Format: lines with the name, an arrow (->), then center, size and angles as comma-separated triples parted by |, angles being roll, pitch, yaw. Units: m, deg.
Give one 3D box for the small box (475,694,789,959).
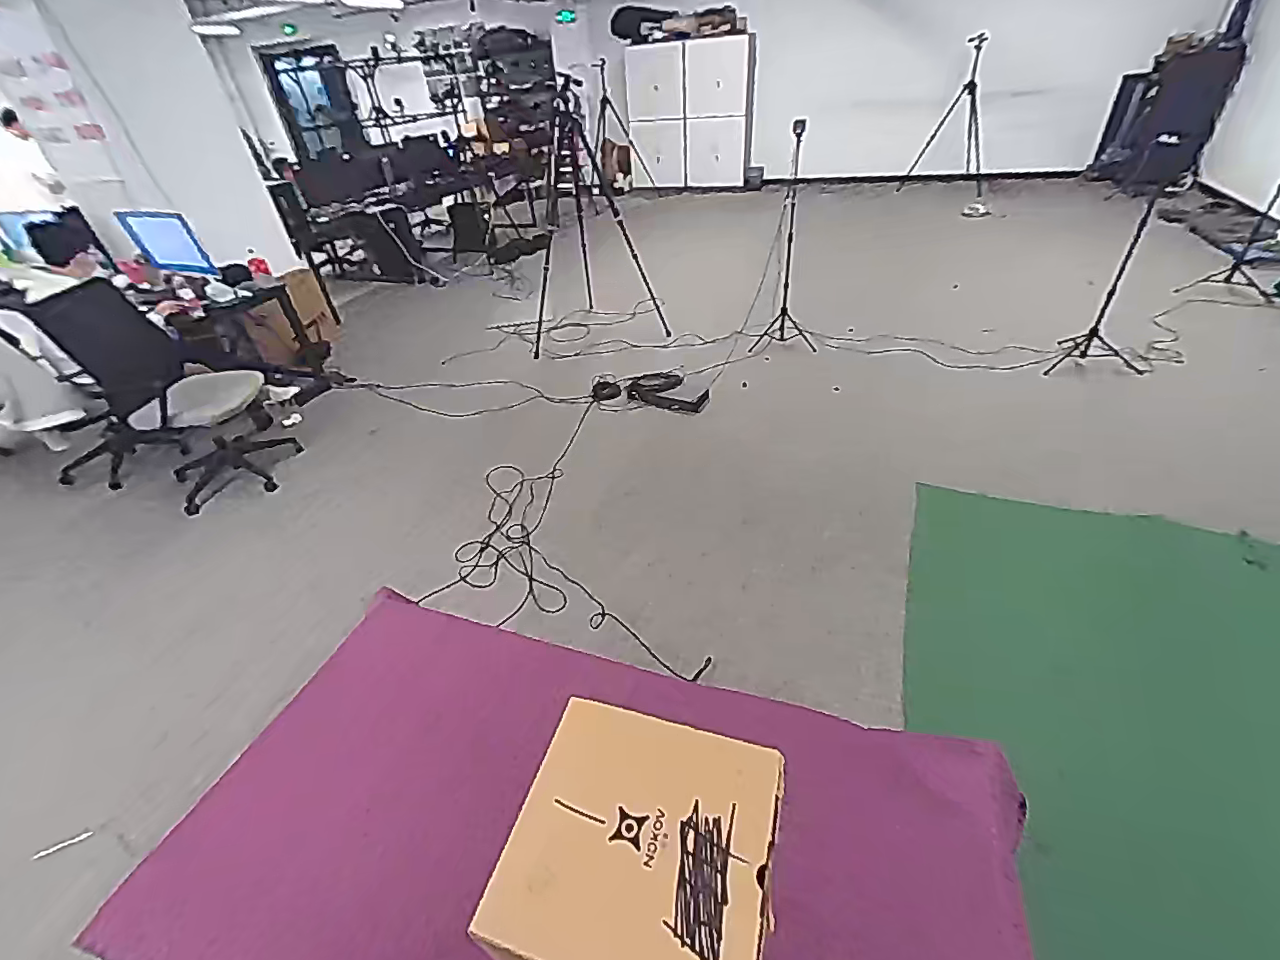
small box -> 0.009, 0.302, 0.418 | 0.179, 0.176, 0.168 | 9, 41, 17
